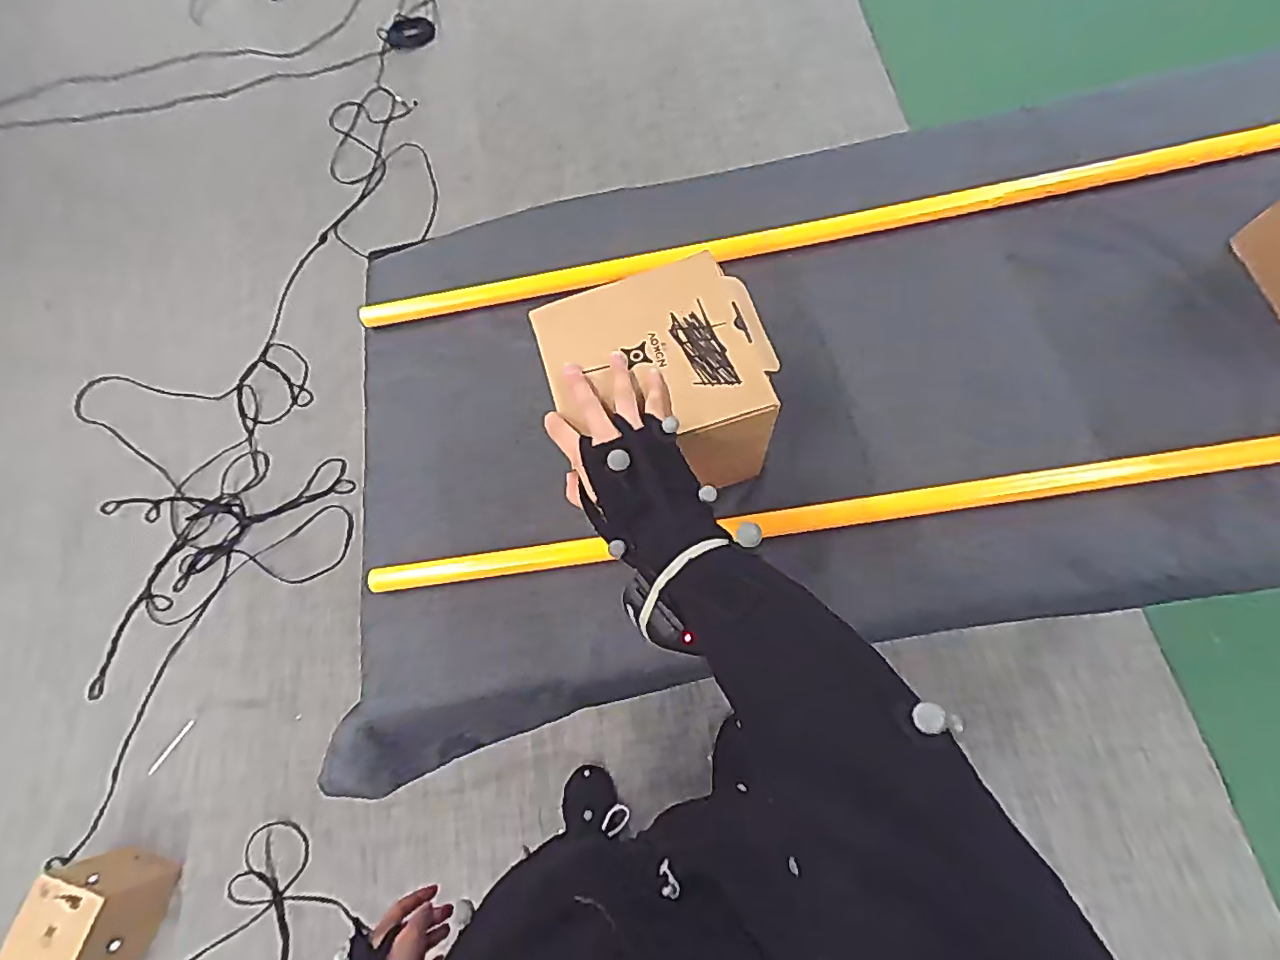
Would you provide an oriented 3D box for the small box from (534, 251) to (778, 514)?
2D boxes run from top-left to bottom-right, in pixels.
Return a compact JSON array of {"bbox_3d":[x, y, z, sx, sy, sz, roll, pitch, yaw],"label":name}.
[{"bbox_3d":[0.016,-0.083,0.534,0.179,0.176,0.168,-18,69,1],"label":"small box"}]

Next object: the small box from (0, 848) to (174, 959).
[{"bbox_3d":[-1.117,0.894,1.102,0.168,0.176,0.179,10,72,11],"label":"small box"}]
